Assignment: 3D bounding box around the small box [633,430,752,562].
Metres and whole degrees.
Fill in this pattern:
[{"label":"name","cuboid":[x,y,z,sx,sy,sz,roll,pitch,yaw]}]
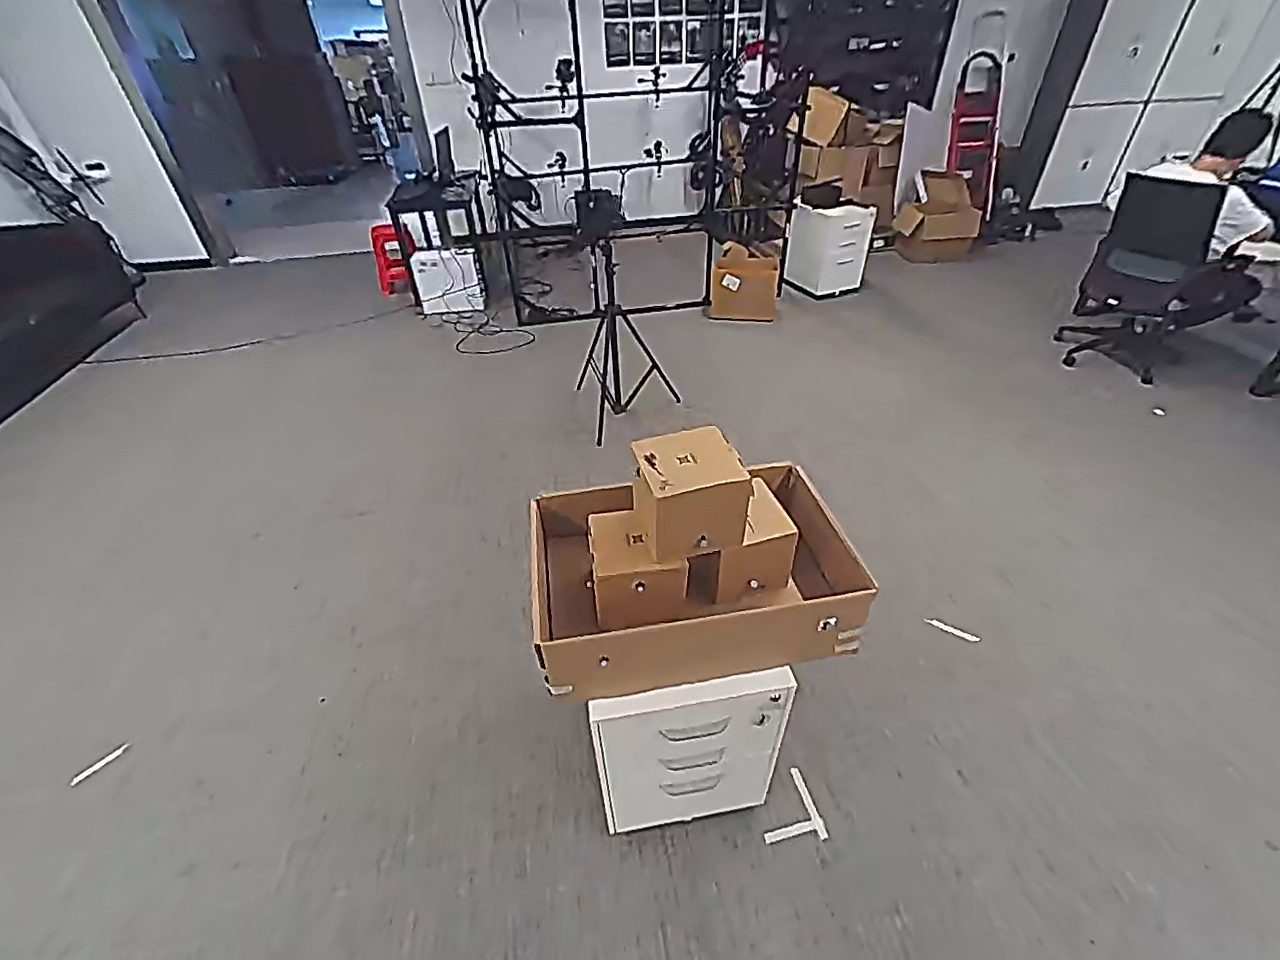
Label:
[{"label":"small box","cuboid":[0.090,0.030,1.017,0.179,0.176,0.168,-11,41,-11]}]
